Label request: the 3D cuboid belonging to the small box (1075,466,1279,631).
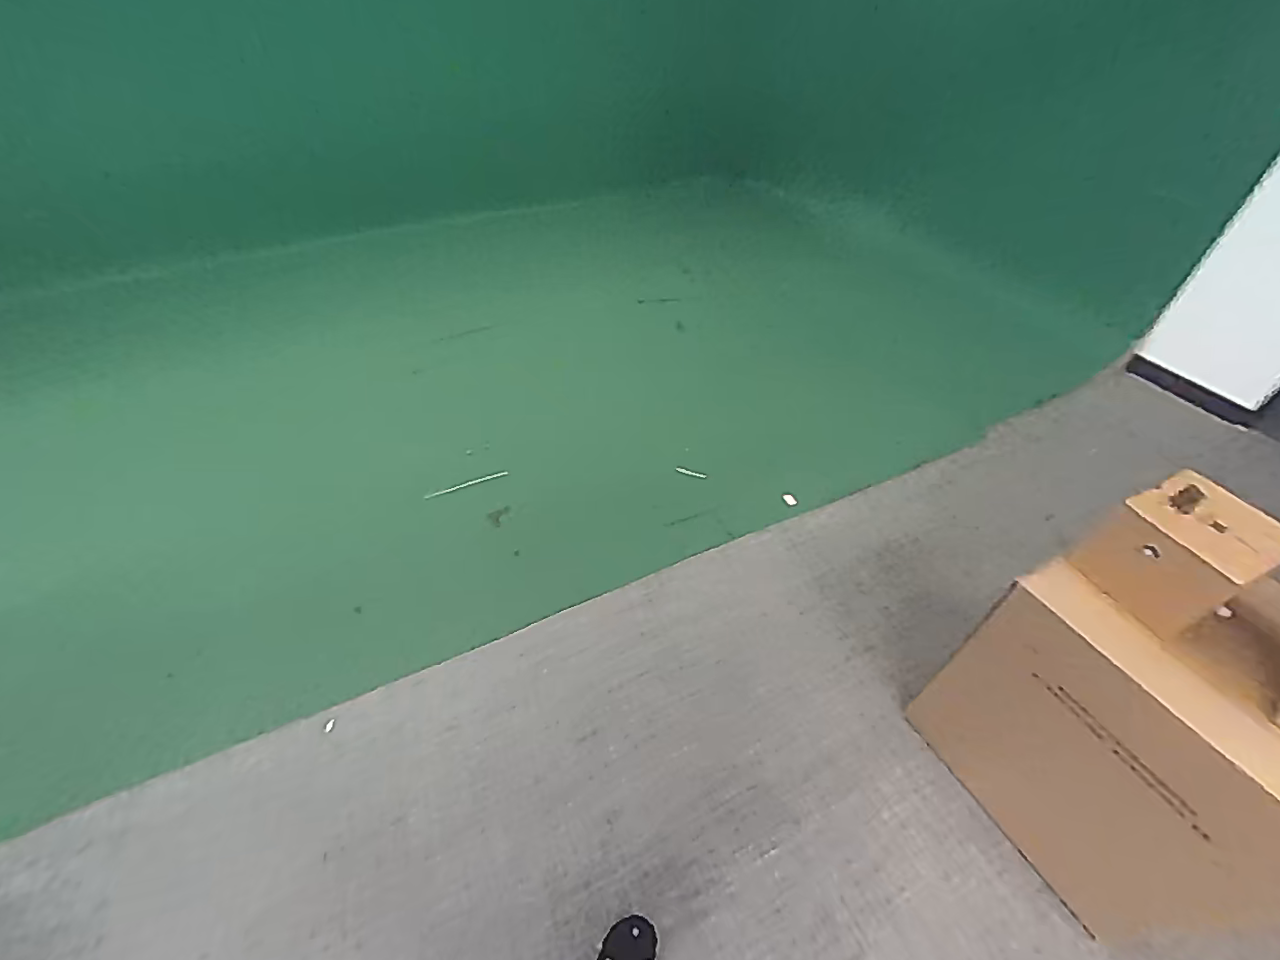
[{"bbox_3d":[0.883,0.113,0.891,0.168,0.176,0.179,-21,49,-14],"label":"small box"}]
